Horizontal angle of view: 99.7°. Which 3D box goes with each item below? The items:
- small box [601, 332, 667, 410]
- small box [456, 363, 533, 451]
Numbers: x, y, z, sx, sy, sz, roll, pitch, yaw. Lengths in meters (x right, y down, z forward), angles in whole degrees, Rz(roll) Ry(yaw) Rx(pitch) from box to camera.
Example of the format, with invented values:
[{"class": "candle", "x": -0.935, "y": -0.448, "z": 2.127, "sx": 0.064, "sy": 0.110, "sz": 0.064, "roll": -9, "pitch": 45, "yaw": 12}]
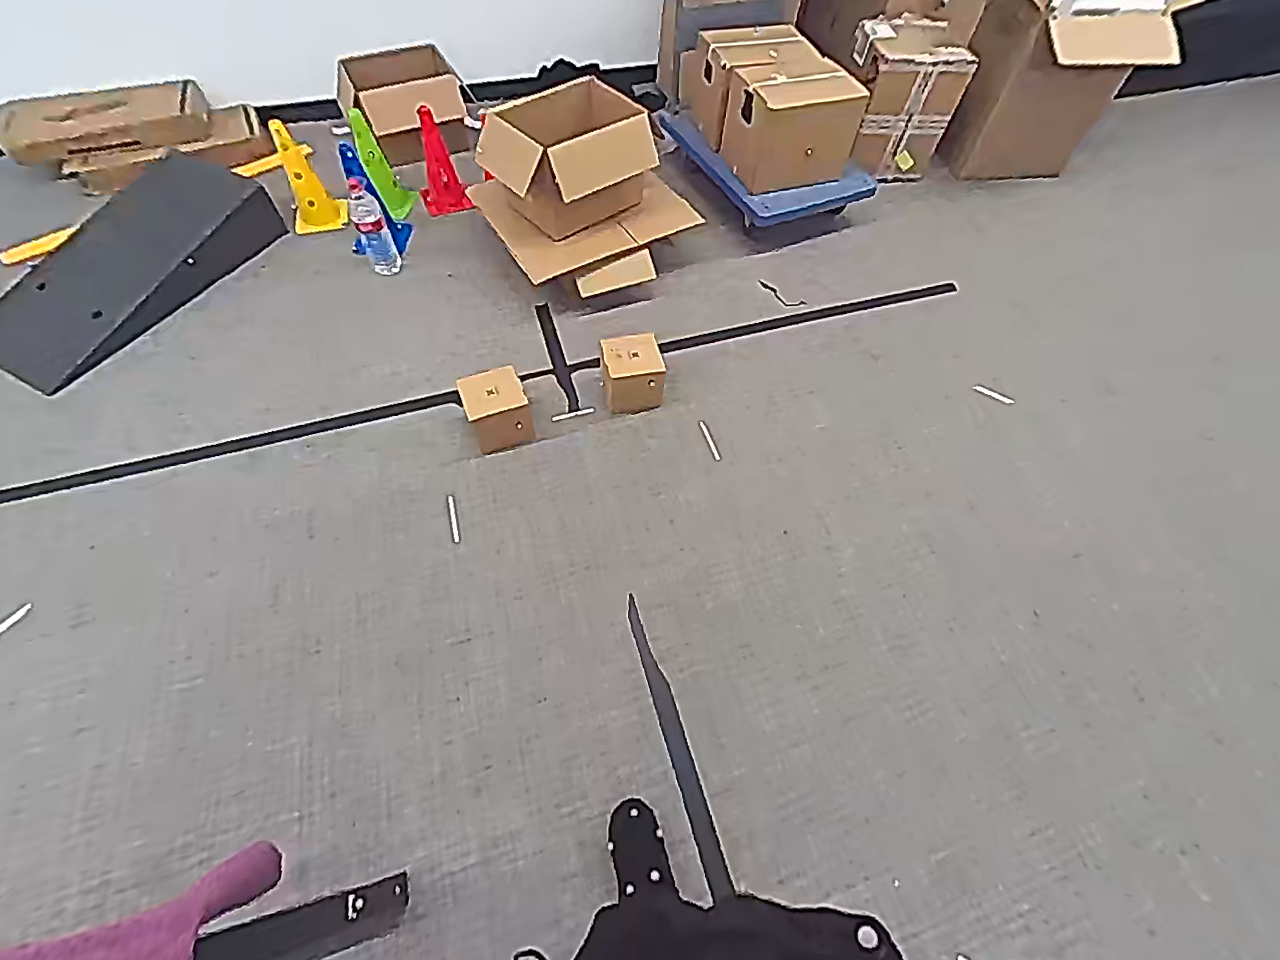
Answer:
[{"class": "small box", "x": -0.026, "y": -0.343, "z": 1.717, "sx": 0.179, "sy": 0.176, "sz": 0.168, "roll": -10, "pitch": 60, "yaw": -10}, {"class": "small box", "x": -0.428, "y": -0.215, "z": 1.620, "sx": 0.179, "sy": 0.176, "sz": 0.168, "roll": -20, "pitch": 61, "yaw": -13}]
